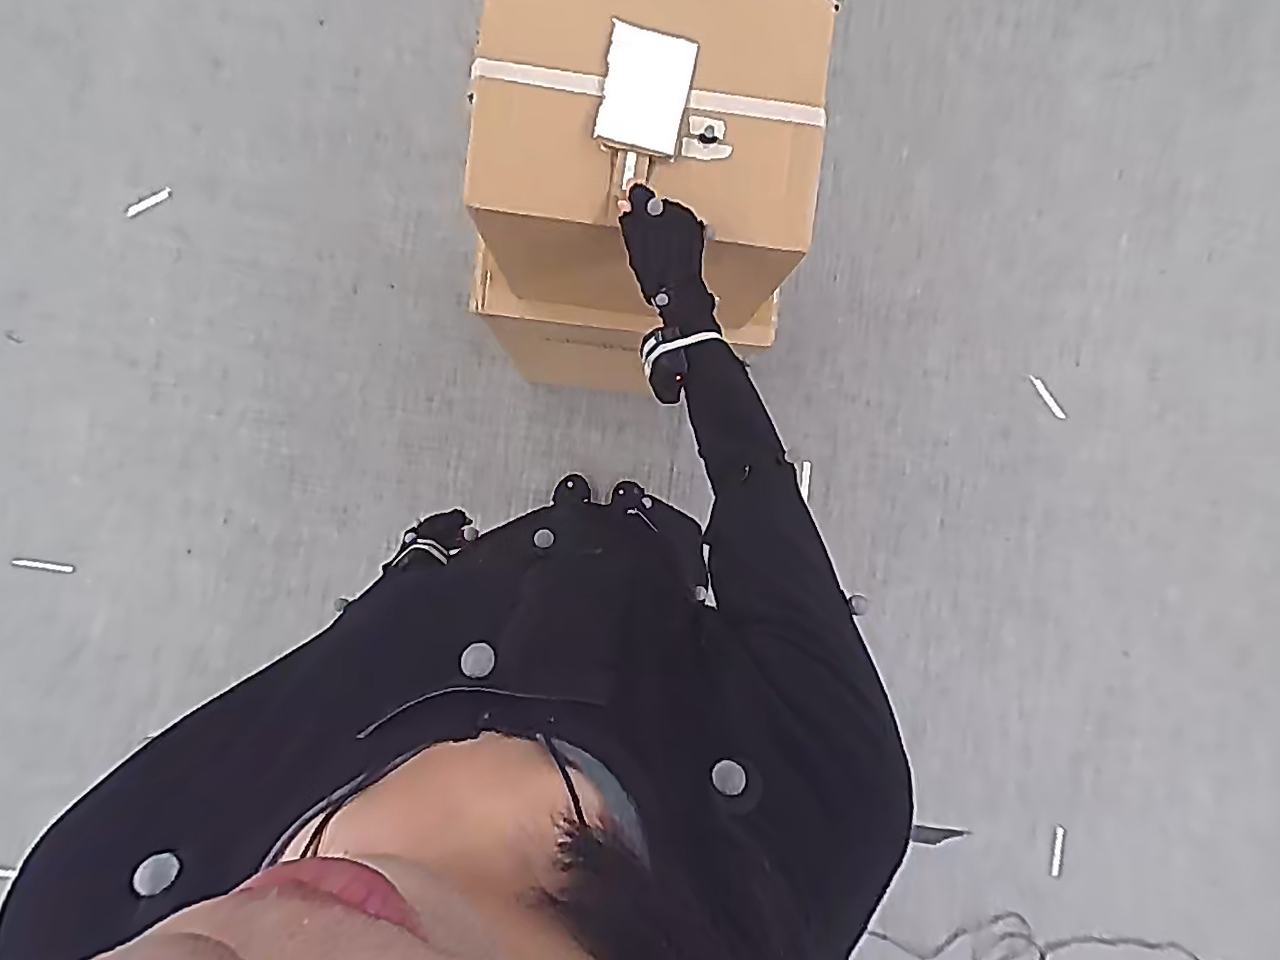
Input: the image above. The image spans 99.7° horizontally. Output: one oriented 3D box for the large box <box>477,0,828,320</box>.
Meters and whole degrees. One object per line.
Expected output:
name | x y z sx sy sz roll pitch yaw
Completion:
large box | 0.008 -0.449 0.791 0.408 0.320 0.320 6 90 -4
